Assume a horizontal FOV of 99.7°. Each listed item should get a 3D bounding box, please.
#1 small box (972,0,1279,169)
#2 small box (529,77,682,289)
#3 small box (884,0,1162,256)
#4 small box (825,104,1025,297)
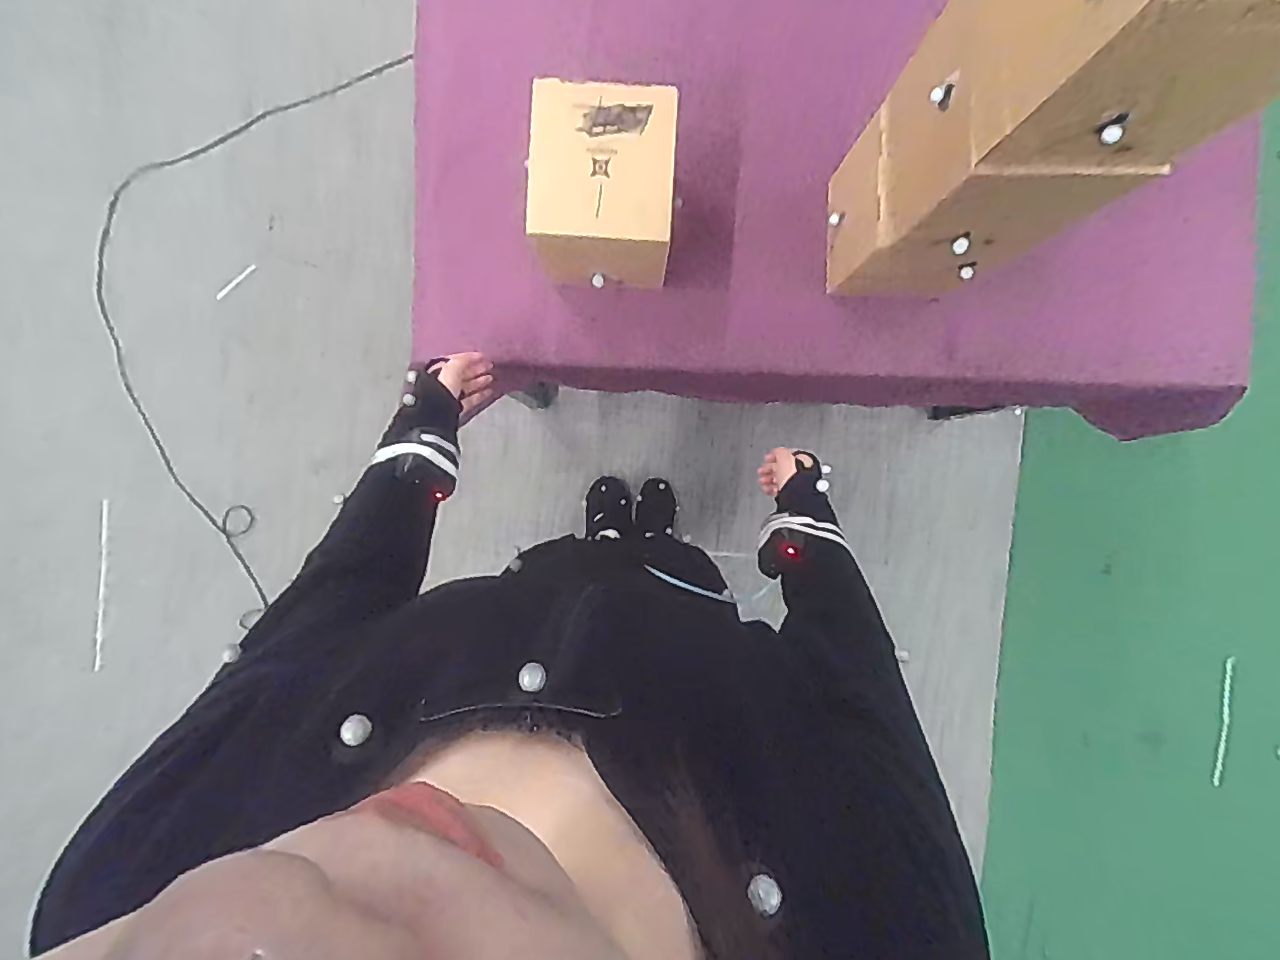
[{"bbox_3d":[0.356,-0.346,0.370,0.168,0.176,0.179,-1,92,0],"label":"small box"},{"bbox_3d":[-0.041,-0.364,0.691,0.168,0.176,0.179,3,92,-1],"label":"small box"},{"bbox_3d":[0.358,-0.343,0.533,0.168,0.176,0.179,1,92,0],"label":"small box"},{"bbox_3d":[0.357,-0.344,0.696,0.179,0.176,0.168,2,91,0],"label":"small box"}]
